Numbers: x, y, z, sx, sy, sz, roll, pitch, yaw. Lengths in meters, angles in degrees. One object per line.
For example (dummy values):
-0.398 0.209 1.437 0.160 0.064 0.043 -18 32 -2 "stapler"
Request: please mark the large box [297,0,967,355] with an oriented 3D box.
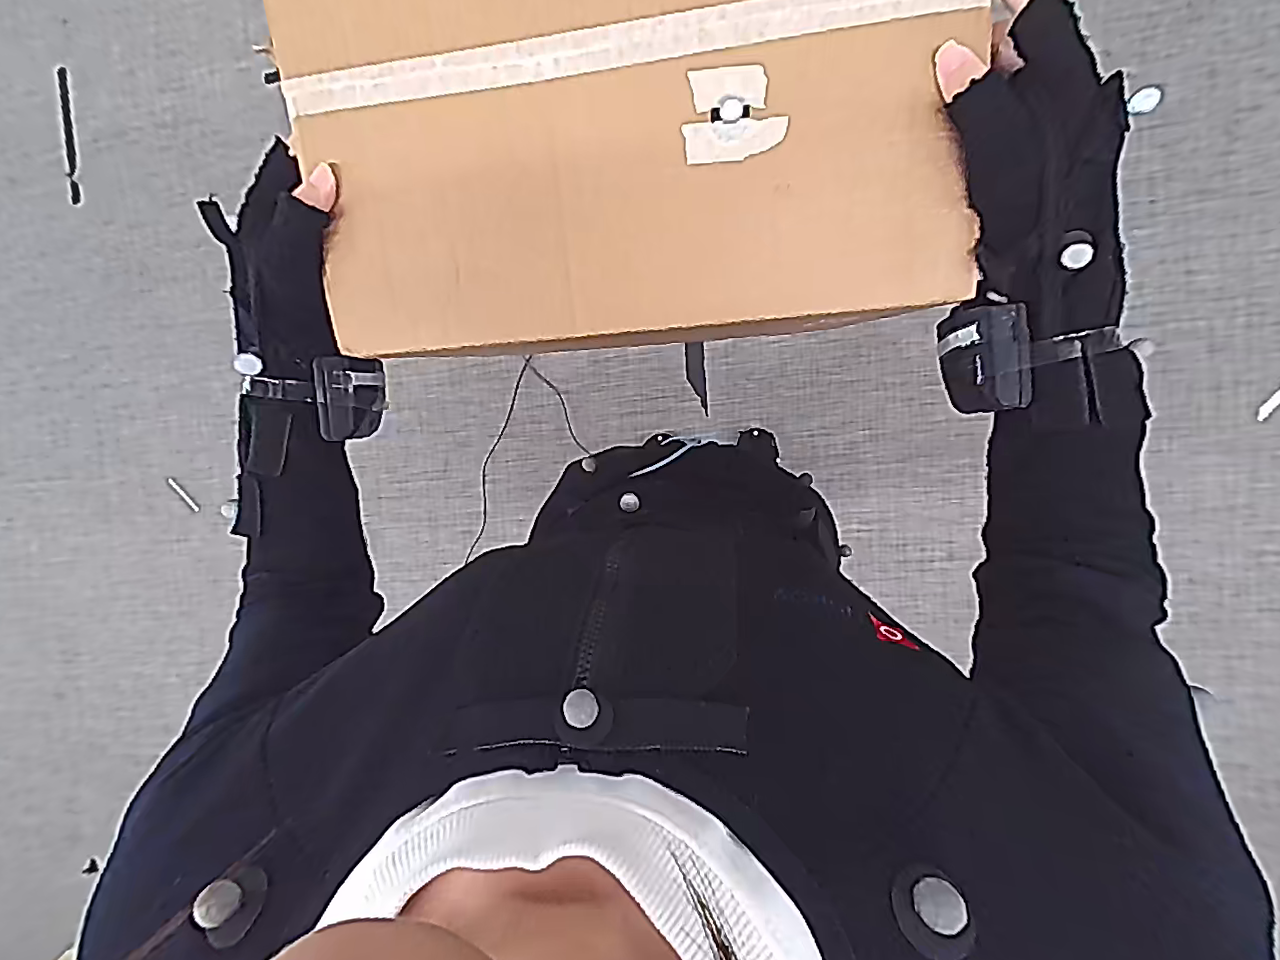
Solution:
0.001 -0.286 0.470 0.408 0.320 0.320 -4 103 7 "large box"
